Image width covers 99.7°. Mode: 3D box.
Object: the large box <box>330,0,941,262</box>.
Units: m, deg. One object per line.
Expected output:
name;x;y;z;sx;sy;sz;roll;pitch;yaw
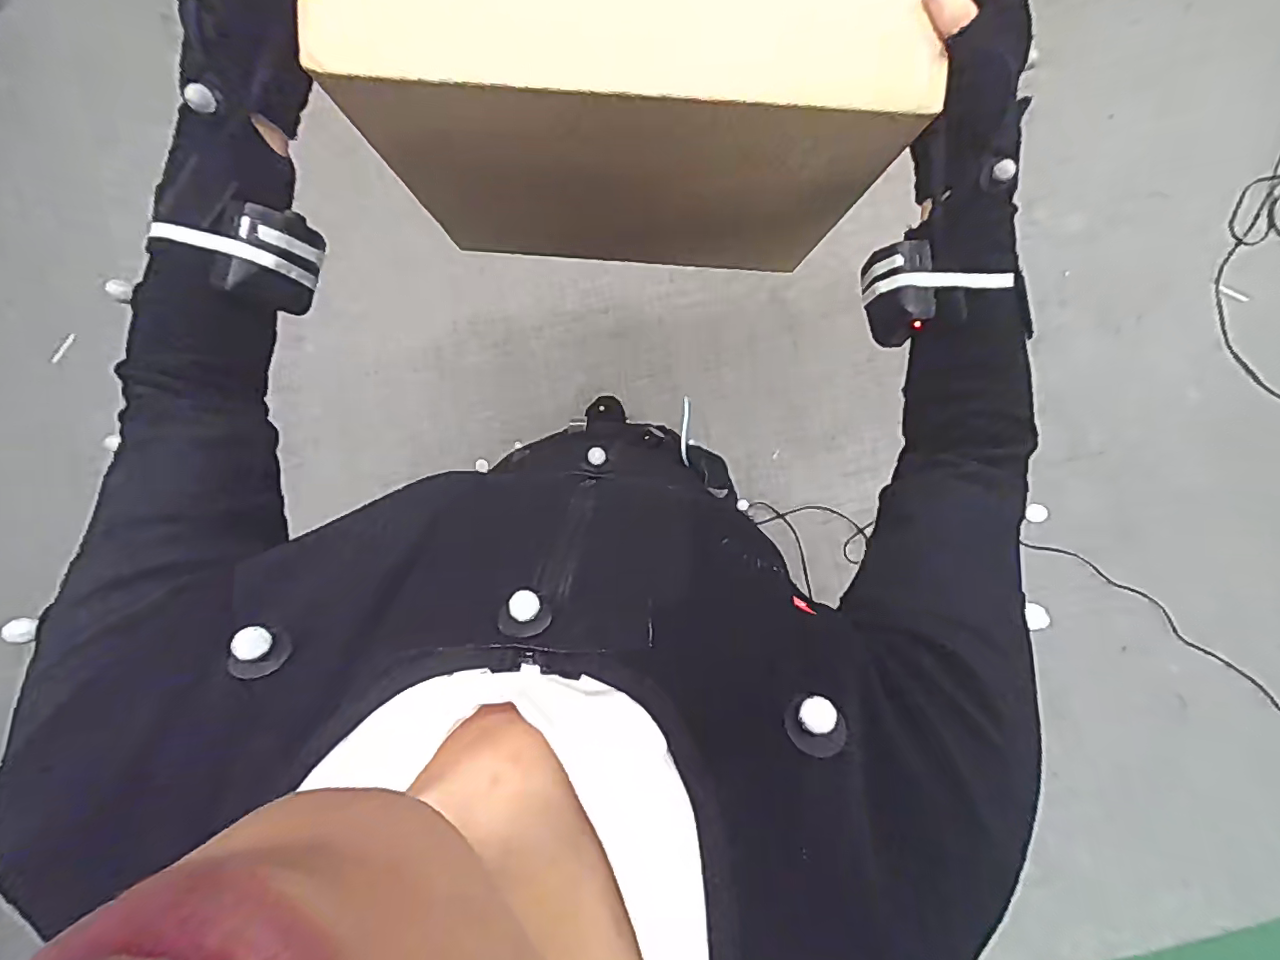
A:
large box;-0.002;-0.414;0.494;0.408;0.320;0.320;3;93;-3
